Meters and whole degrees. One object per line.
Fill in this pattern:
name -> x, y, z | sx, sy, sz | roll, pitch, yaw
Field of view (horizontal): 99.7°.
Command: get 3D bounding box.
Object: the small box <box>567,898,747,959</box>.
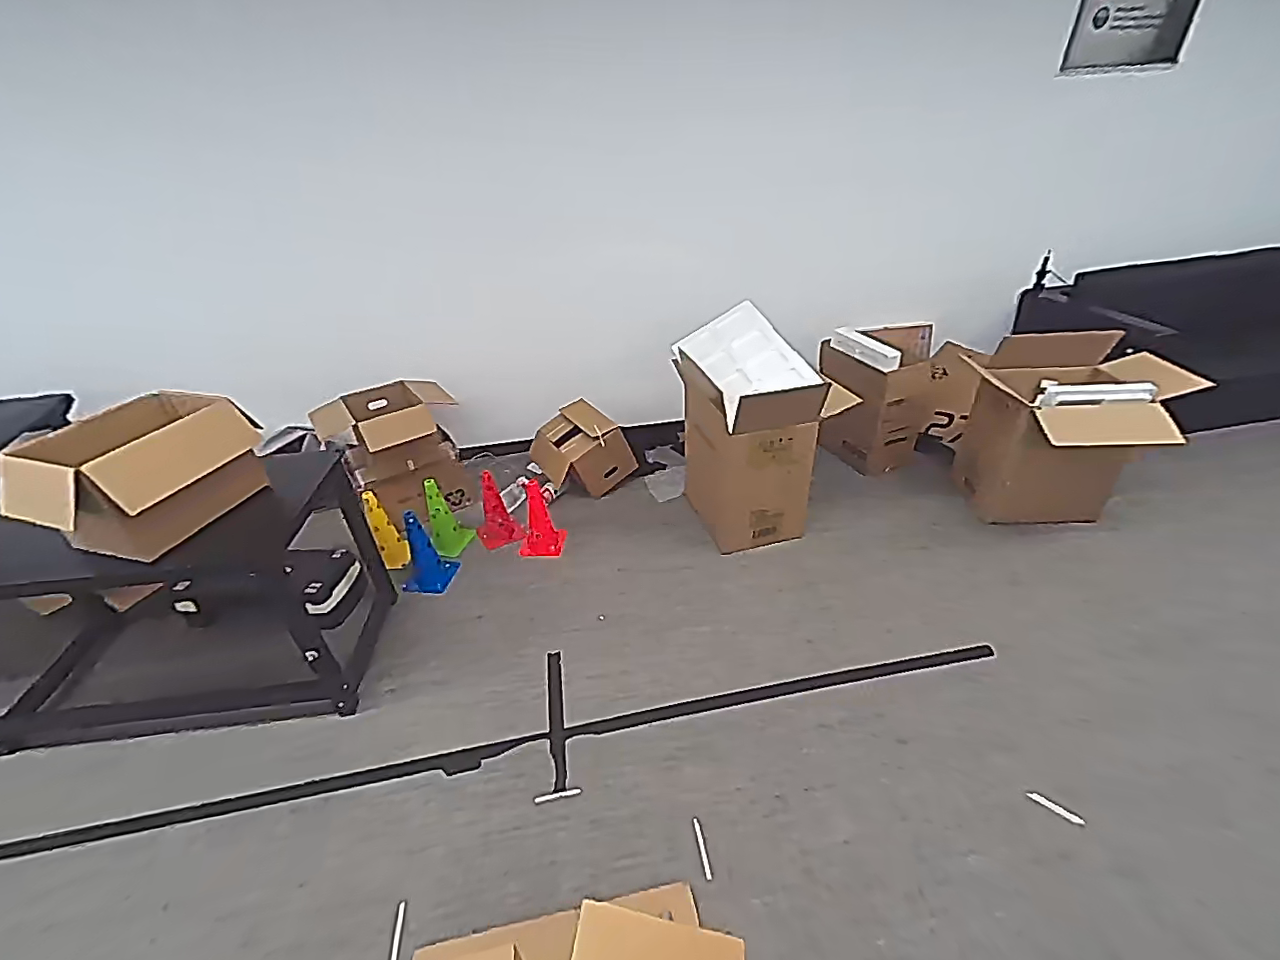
small box -> -0.001, 0.561, 0.538 | 0.179, 0.176, 0.168 | 14, 35, 1

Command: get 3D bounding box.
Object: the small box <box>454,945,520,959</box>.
small box -> -0.333, 1.143, 1.147 | 0.168, 0.176, 0.179 | -9, 34, -8
